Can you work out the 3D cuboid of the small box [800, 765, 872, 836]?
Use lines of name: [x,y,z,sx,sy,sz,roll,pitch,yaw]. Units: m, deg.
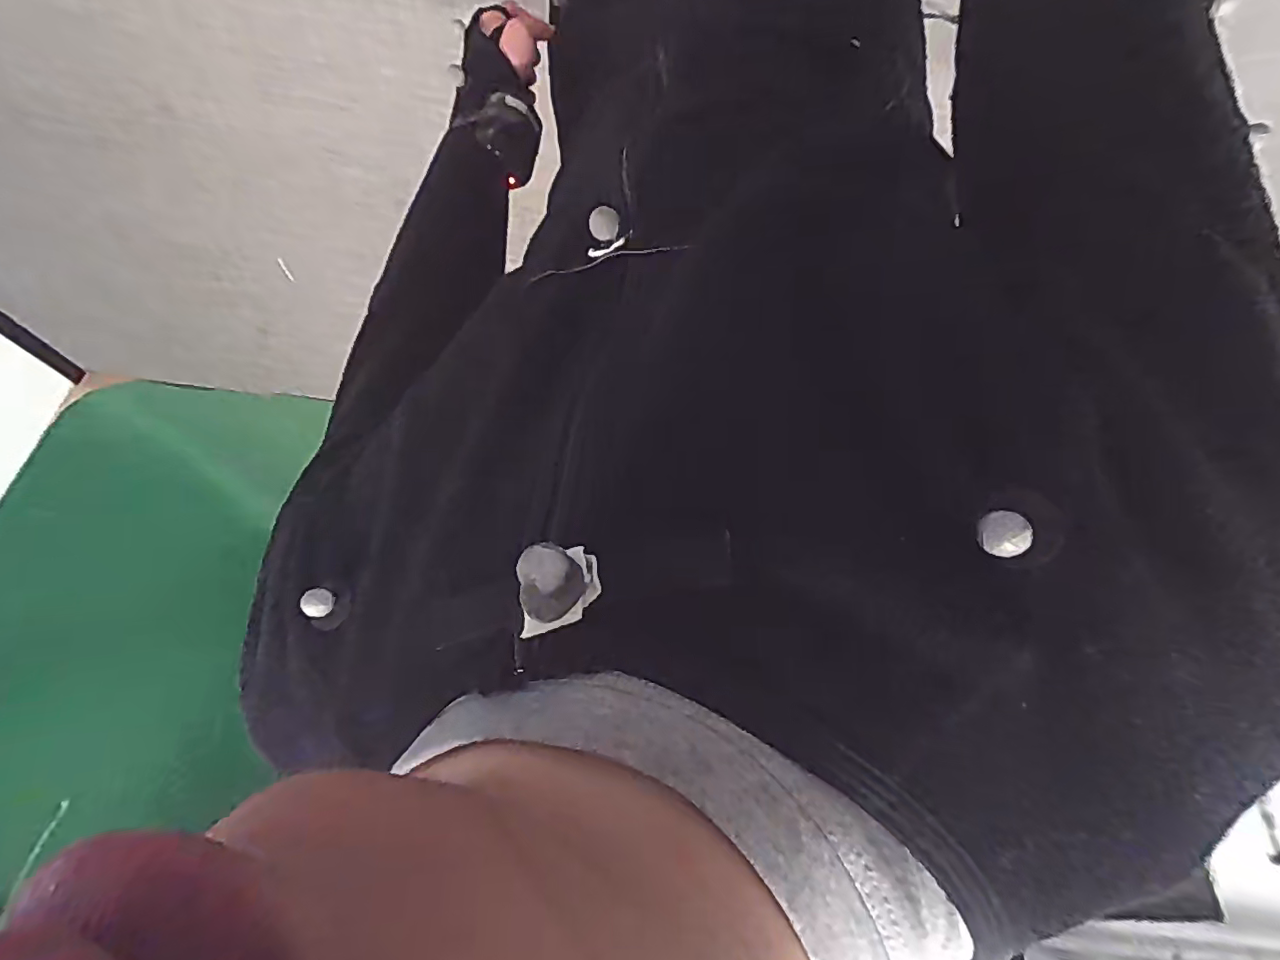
small box: [0.603,0.994,1.690,0.168,0.176,0.179,6,155,1]
